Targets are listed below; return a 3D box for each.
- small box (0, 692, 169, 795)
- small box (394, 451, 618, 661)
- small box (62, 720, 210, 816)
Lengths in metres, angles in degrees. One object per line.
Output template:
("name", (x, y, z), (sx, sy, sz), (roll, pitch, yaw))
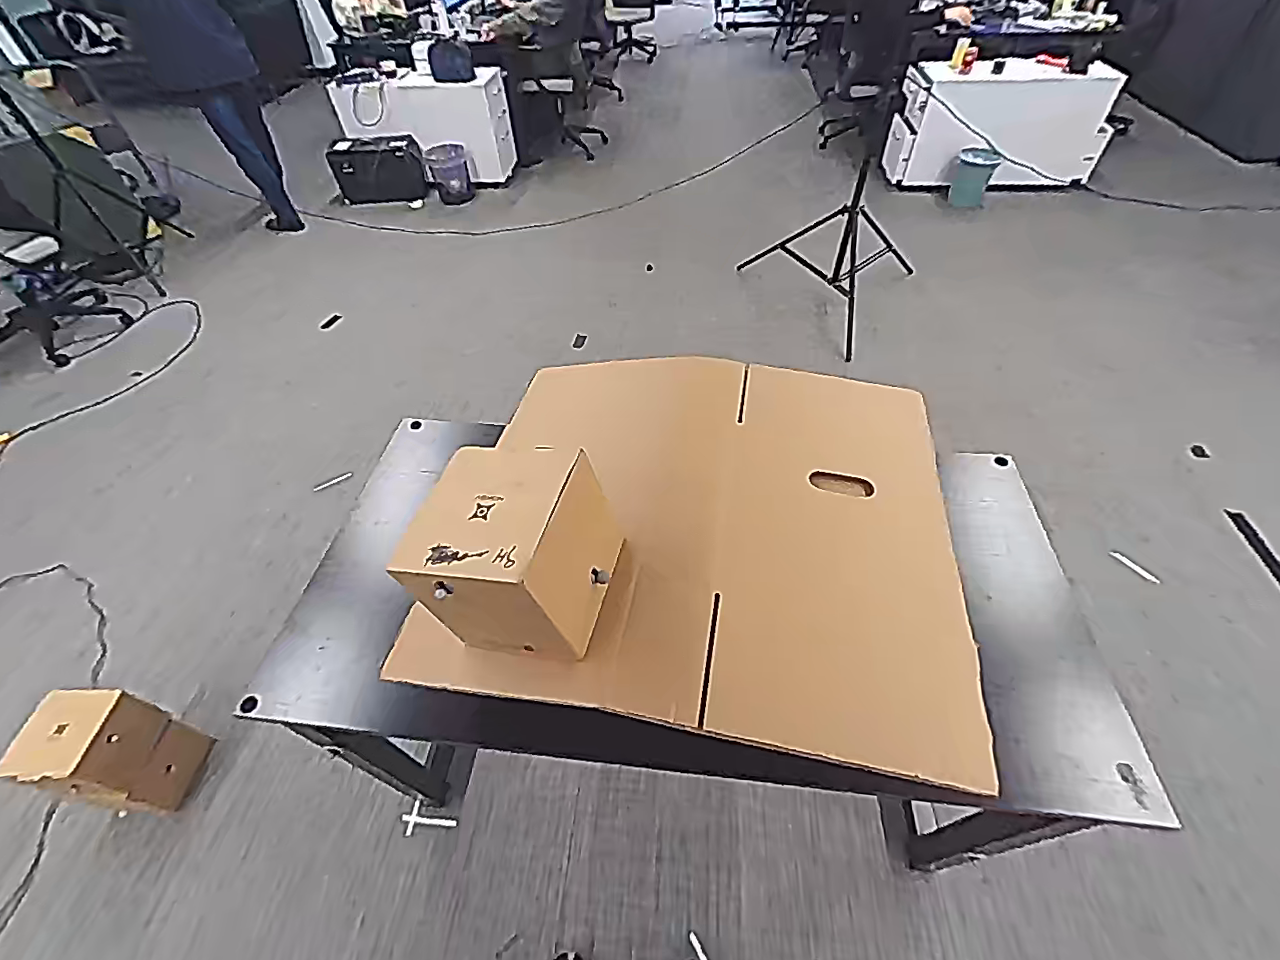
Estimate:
("small box", (-1.214, 0.589, 1.200), (0.168, 0.176, 0.179), (-1, 48, 0))
("small box", (-0.136, 0.084, 0.631), (0.168, 0.176, 0.179), (1, 48, 21))
("small box", (-1.208, 0.700, 1.318), (0.168, 0.176, 0.179), (1, 50, 3))
